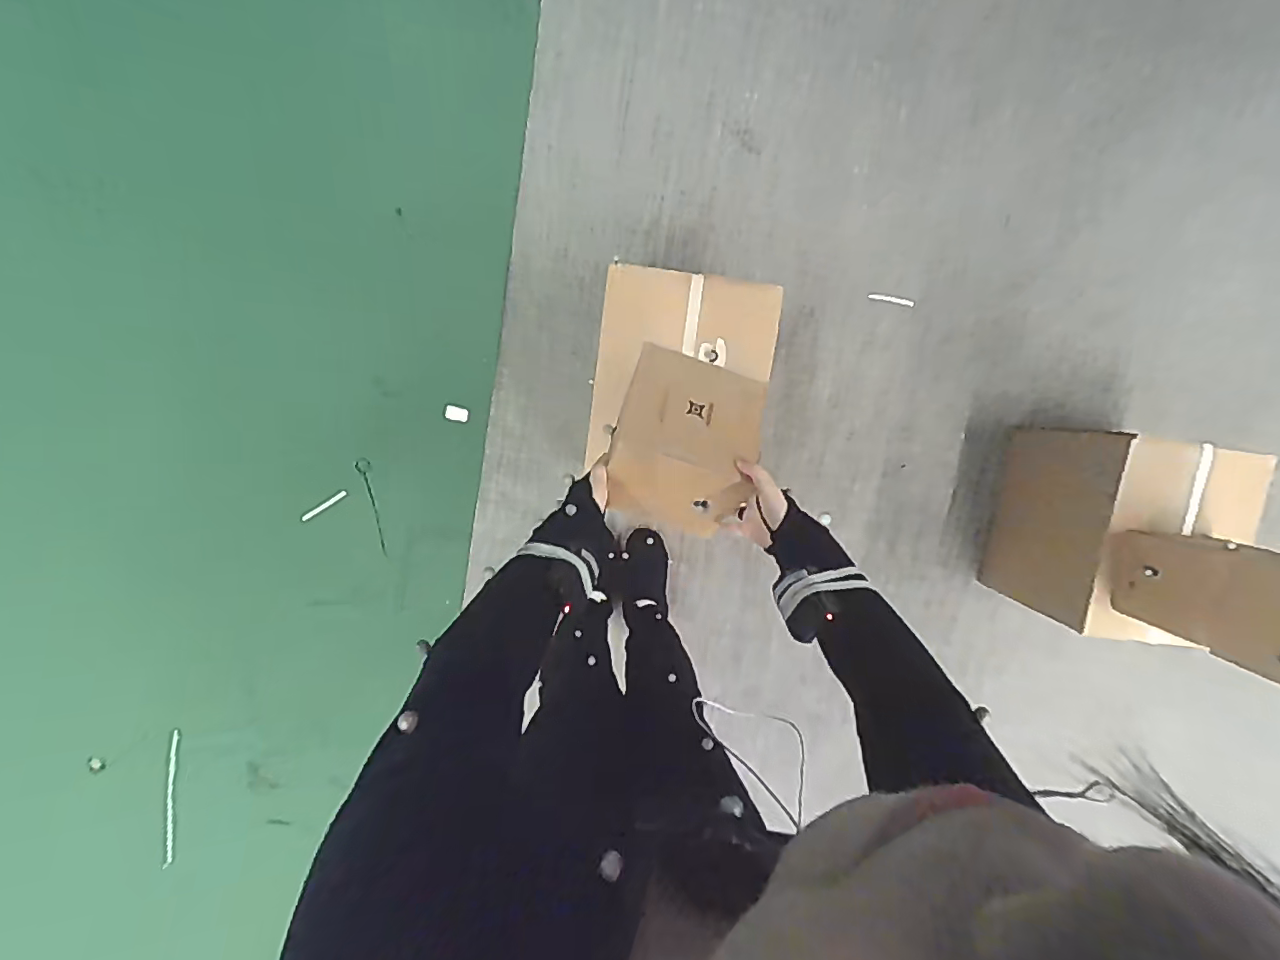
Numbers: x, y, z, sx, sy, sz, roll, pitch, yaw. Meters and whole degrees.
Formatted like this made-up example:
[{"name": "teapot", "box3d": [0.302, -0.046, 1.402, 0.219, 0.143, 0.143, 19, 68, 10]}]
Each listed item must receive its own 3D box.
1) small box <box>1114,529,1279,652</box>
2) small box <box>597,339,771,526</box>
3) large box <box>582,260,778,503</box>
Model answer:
[{"name": "small box", "box3d": [1.033, 0.192, 0.981, 0.179, 0.176, 0.168, 6, 99, -3]}, {"name": "small box", "box3d": [0.055, -0.054, 0.735, 0.179, 0.176, 0.168, 18, 60, -7]}, {"name": "large box", "box3d": [0.063, -0.185, 1.108, 0.320, 0.320, 0.408, 7, 97, -4]}]
